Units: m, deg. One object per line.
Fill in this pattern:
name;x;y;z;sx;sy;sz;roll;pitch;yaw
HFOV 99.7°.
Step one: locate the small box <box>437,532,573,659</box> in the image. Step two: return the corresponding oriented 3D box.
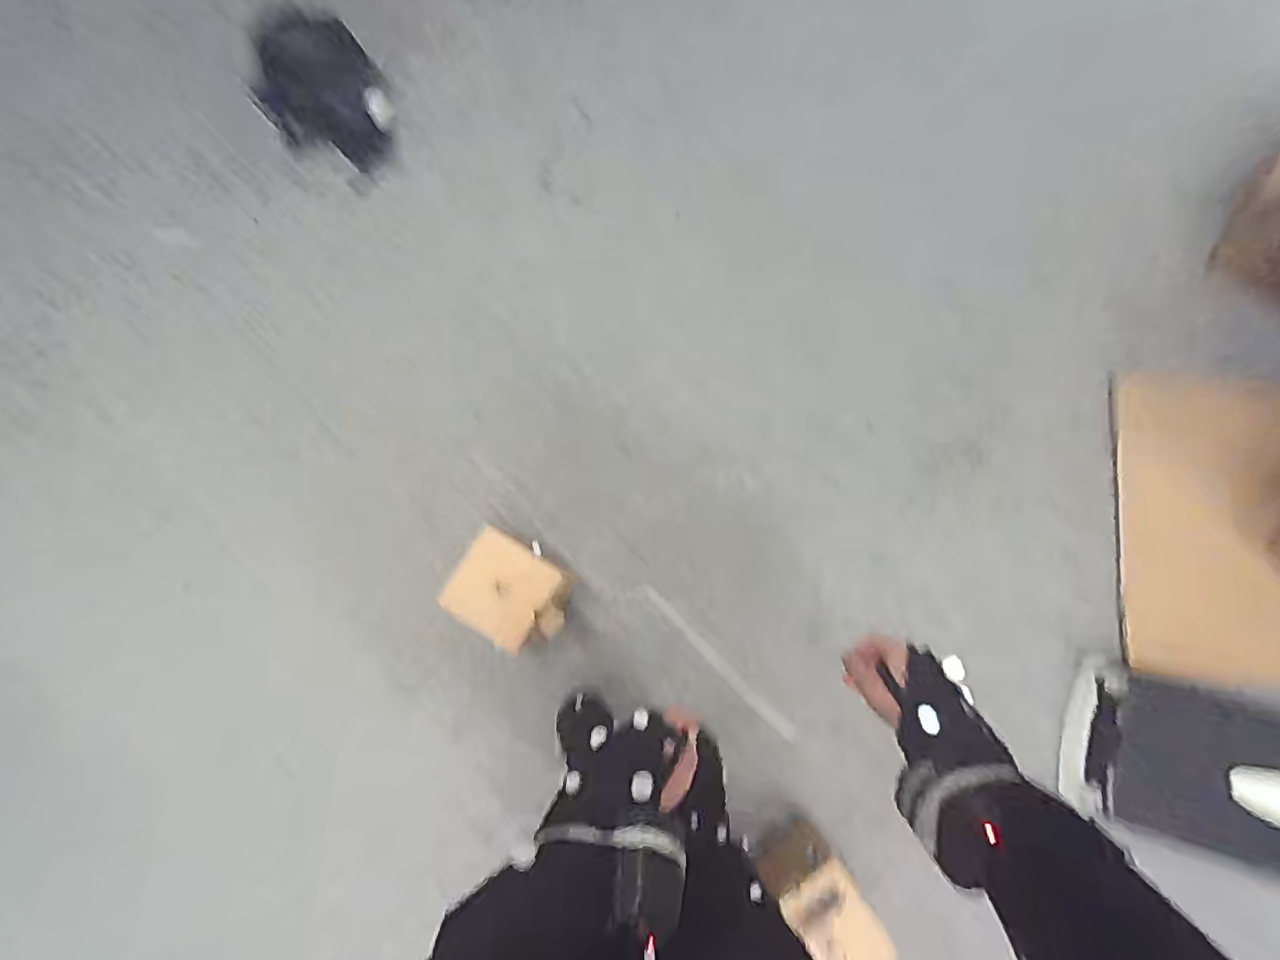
small box;-0.251;0.223;1.053;0.179;0.176;0.168;32;81;7
